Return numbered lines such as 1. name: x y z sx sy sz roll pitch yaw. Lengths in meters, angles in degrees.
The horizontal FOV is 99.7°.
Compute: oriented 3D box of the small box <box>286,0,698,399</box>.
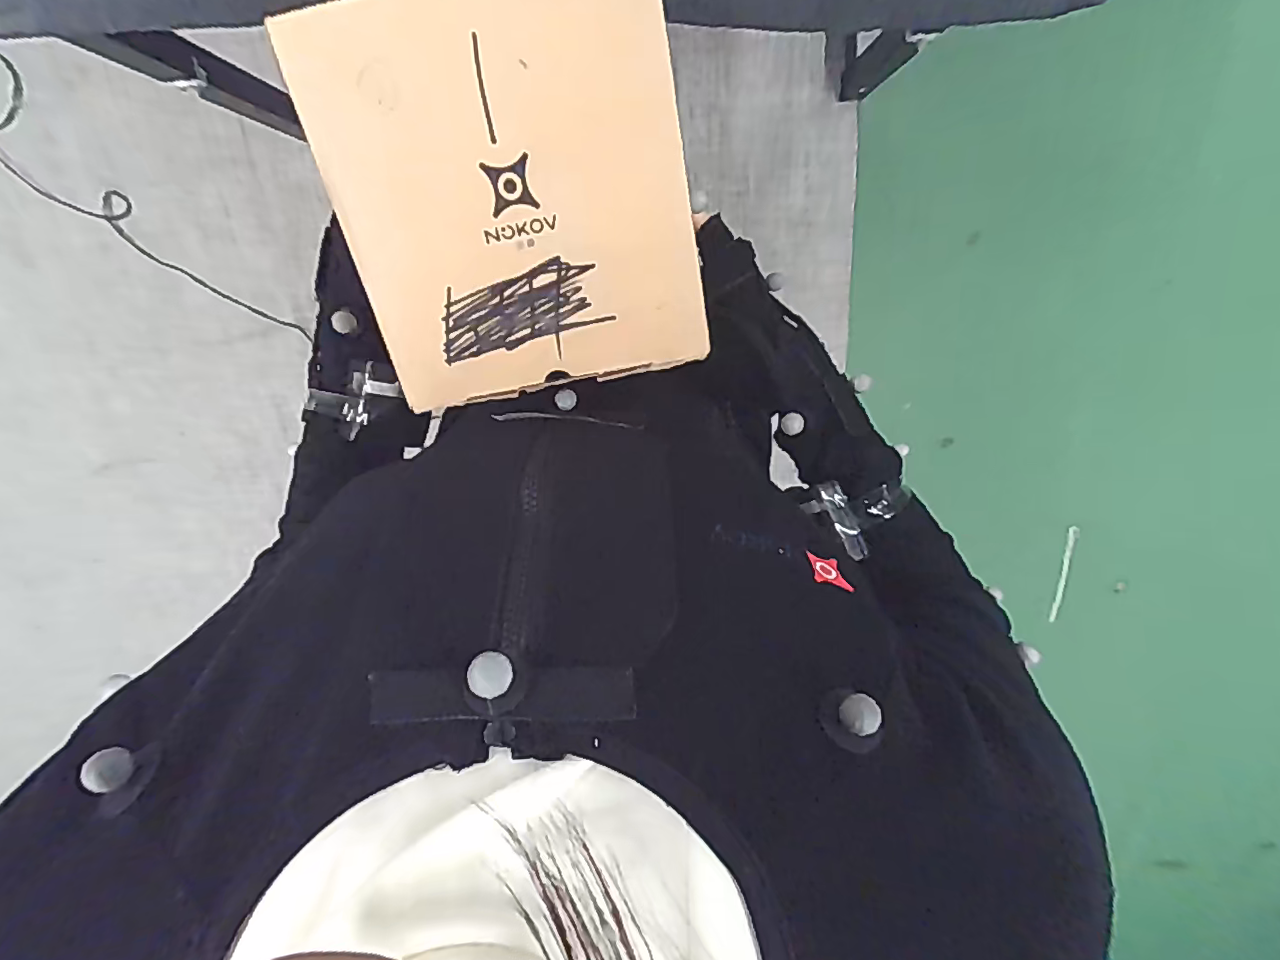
1. small box: -0.059 -0.167 0.334 0.168 0.176 0.179 -9 114 4
